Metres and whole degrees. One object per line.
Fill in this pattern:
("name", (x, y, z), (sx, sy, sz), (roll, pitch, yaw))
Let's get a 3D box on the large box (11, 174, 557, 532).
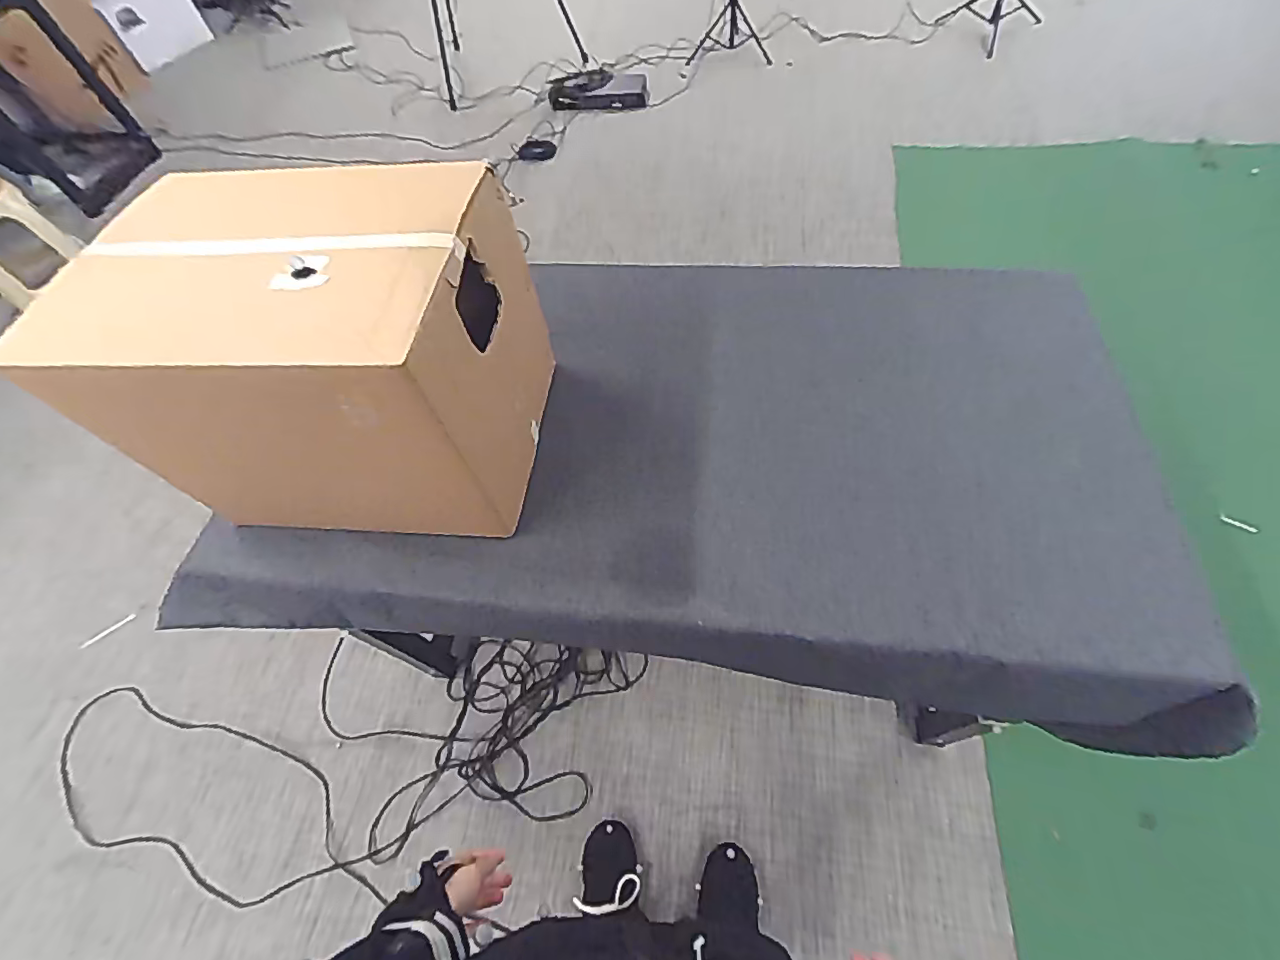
("large box", (-0.348, -0.141, 0.670), (0.408, 0.320, 0.320), (2, 58, 6))
